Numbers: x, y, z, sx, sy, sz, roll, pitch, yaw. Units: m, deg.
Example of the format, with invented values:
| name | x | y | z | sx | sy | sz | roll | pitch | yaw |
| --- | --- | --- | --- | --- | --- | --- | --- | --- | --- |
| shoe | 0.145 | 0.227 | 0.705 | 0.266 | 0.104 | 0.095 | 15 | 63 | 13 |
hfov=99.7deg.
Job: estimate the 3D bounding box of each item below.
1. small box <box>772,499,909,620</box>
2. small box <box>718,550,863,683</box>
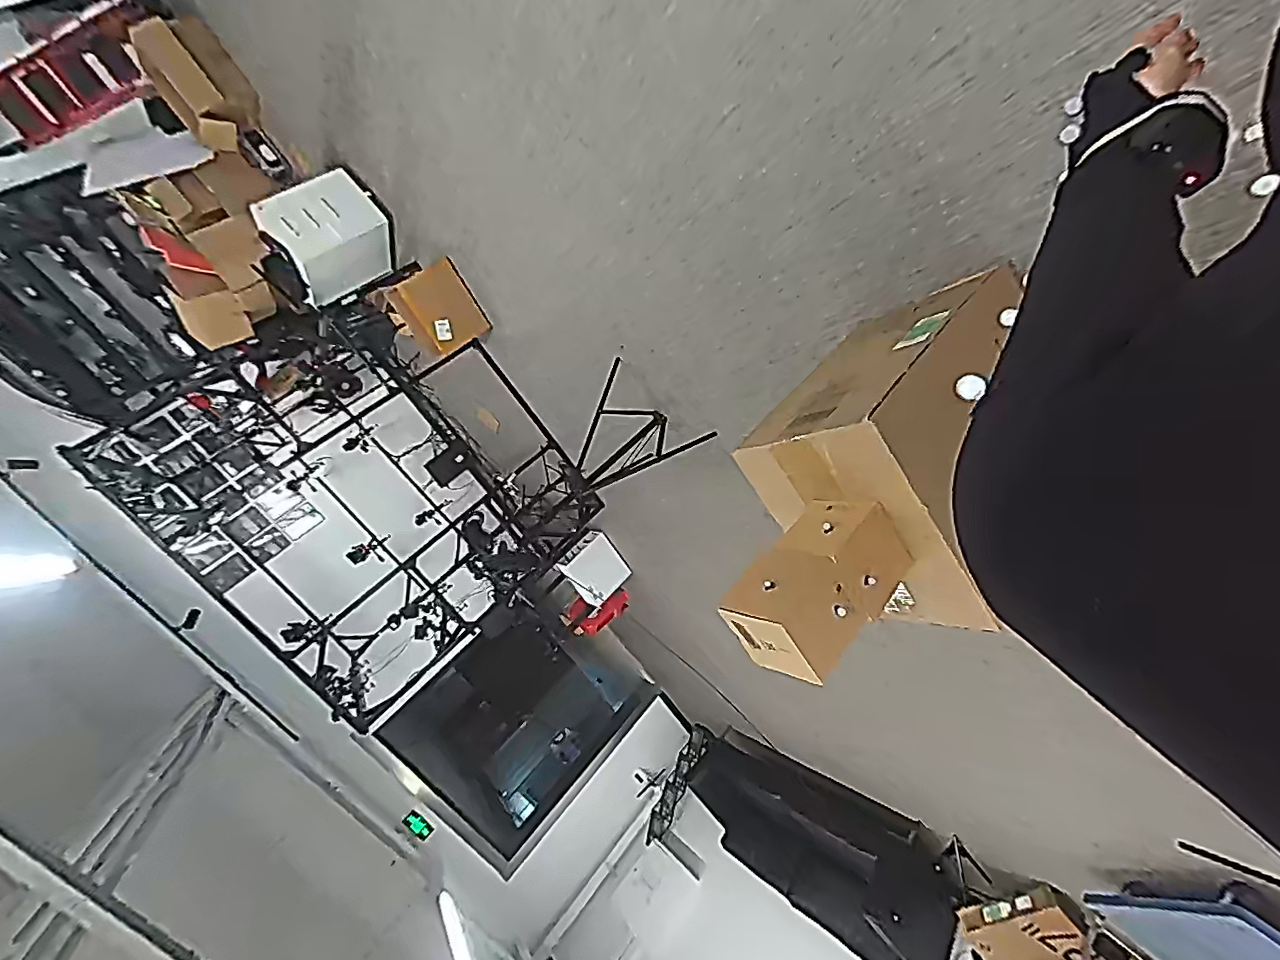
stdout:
| name | x | y | z | sx | sy | sz | roll | pitch | yaw |
| --- | --- | --- | --- | --- | --- | --- | --- | --- | --- |
| small box | 0.410 | 0.152 | 1.102 | 0.179 | 0.176 | 0.168 | 54 | 154 | -17 |
| small box | 0.291 | 0.251 | 1.045 | 0.168 | 0.176 | 0.179 | 54 | 154 | -18 |
